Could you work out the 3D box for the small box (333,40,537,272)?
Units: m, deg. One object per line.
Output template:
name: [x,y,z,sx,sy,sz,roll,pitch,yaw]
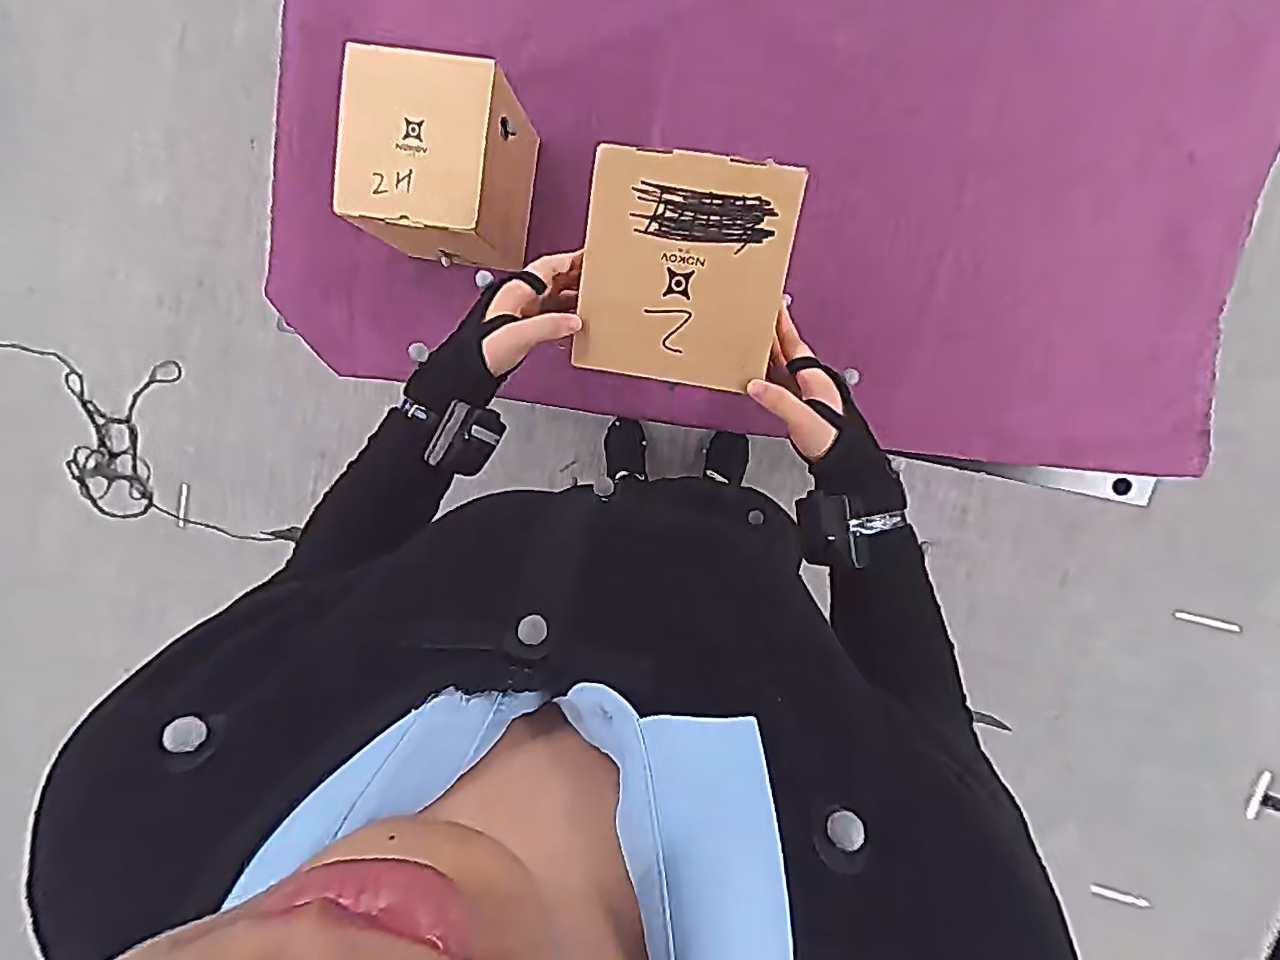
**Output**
small box: [-0.231,-0.370,0.647,0.168,0.176,0.179,10,98,4]
